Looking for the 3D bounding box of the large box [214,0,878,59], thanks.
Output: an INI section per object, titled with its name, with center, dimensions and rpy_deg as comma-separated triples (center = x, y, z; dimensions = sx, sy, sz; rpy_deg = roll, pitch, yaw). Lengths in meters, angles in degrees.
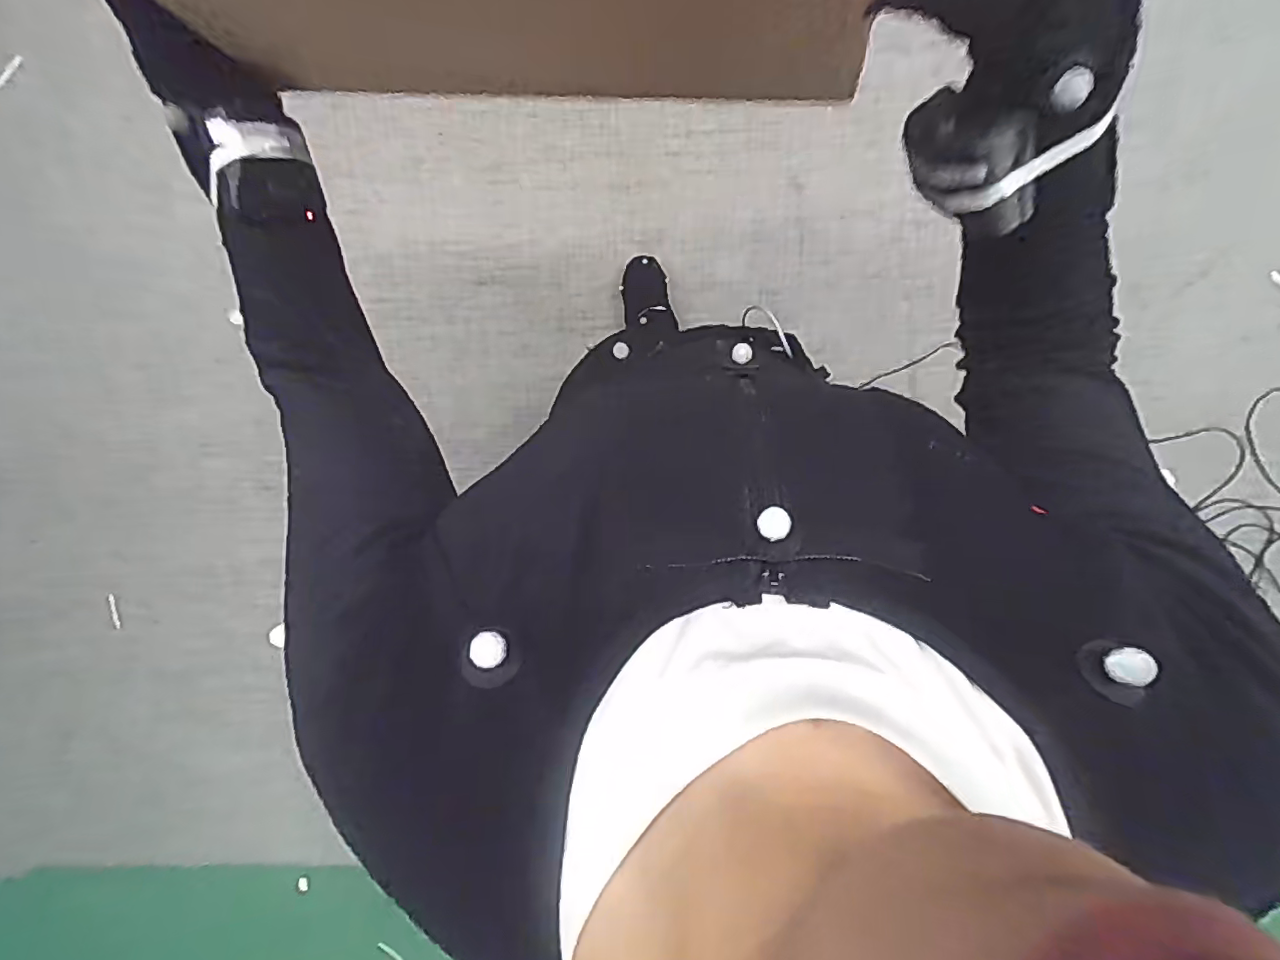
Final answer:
[large box]
center = -0.078, -0.408, 0.184
dimensions = 0.408, 0.320, 0.320
rpy_deg = 12, 94, 14
